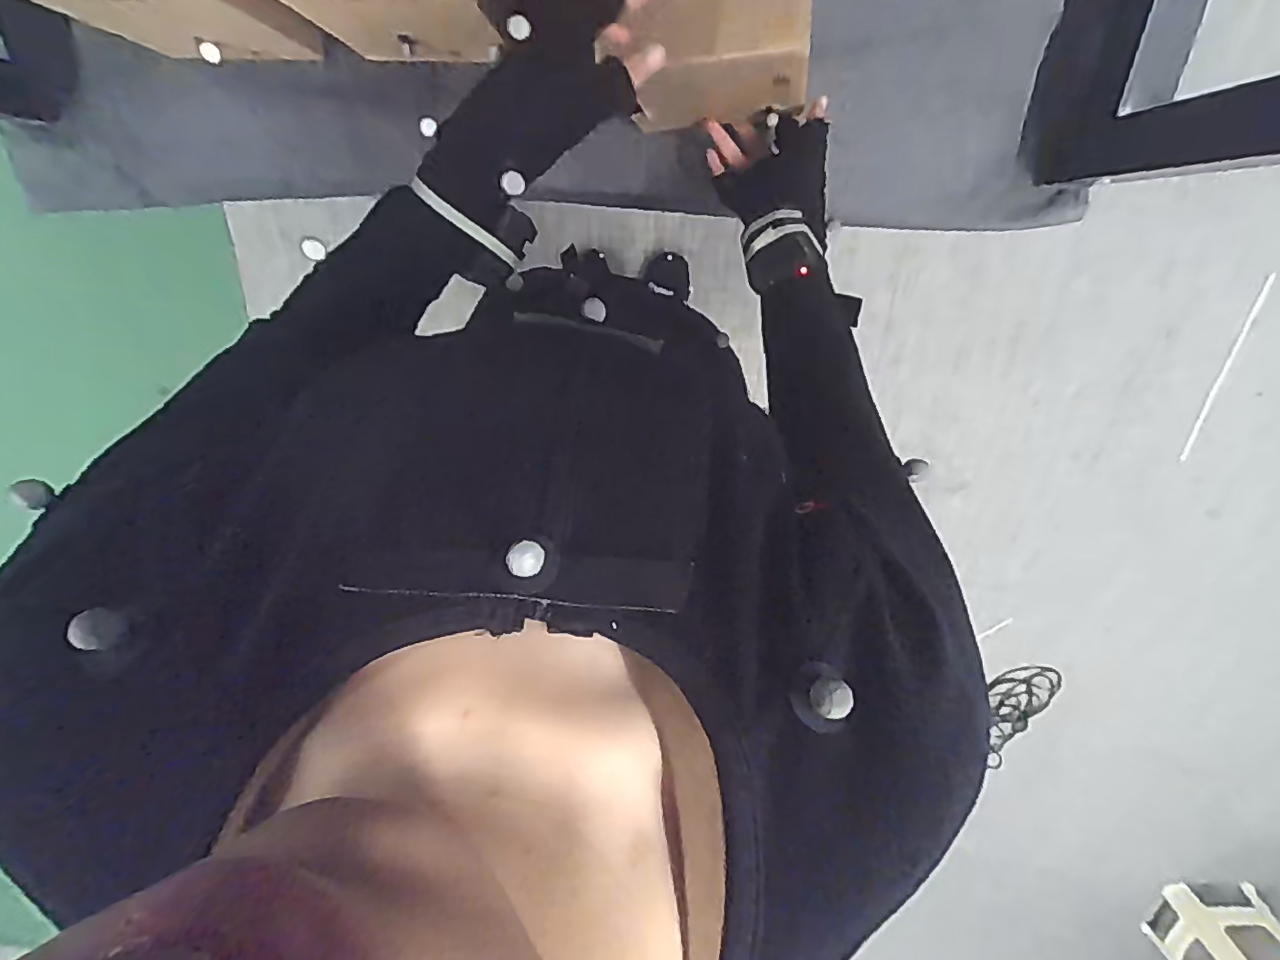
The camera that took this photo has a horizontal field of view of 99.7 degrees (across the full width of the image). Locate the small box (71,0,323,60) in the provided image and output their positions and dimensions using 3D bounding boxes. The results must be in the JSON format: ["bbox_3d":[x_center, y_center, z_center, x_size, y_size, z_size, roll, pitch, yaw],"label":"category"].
[{"bbox_3d":[-0.408,-0.494,0.460,0.168,0.176,0.179,2,114,1],"label":"small box"}]
